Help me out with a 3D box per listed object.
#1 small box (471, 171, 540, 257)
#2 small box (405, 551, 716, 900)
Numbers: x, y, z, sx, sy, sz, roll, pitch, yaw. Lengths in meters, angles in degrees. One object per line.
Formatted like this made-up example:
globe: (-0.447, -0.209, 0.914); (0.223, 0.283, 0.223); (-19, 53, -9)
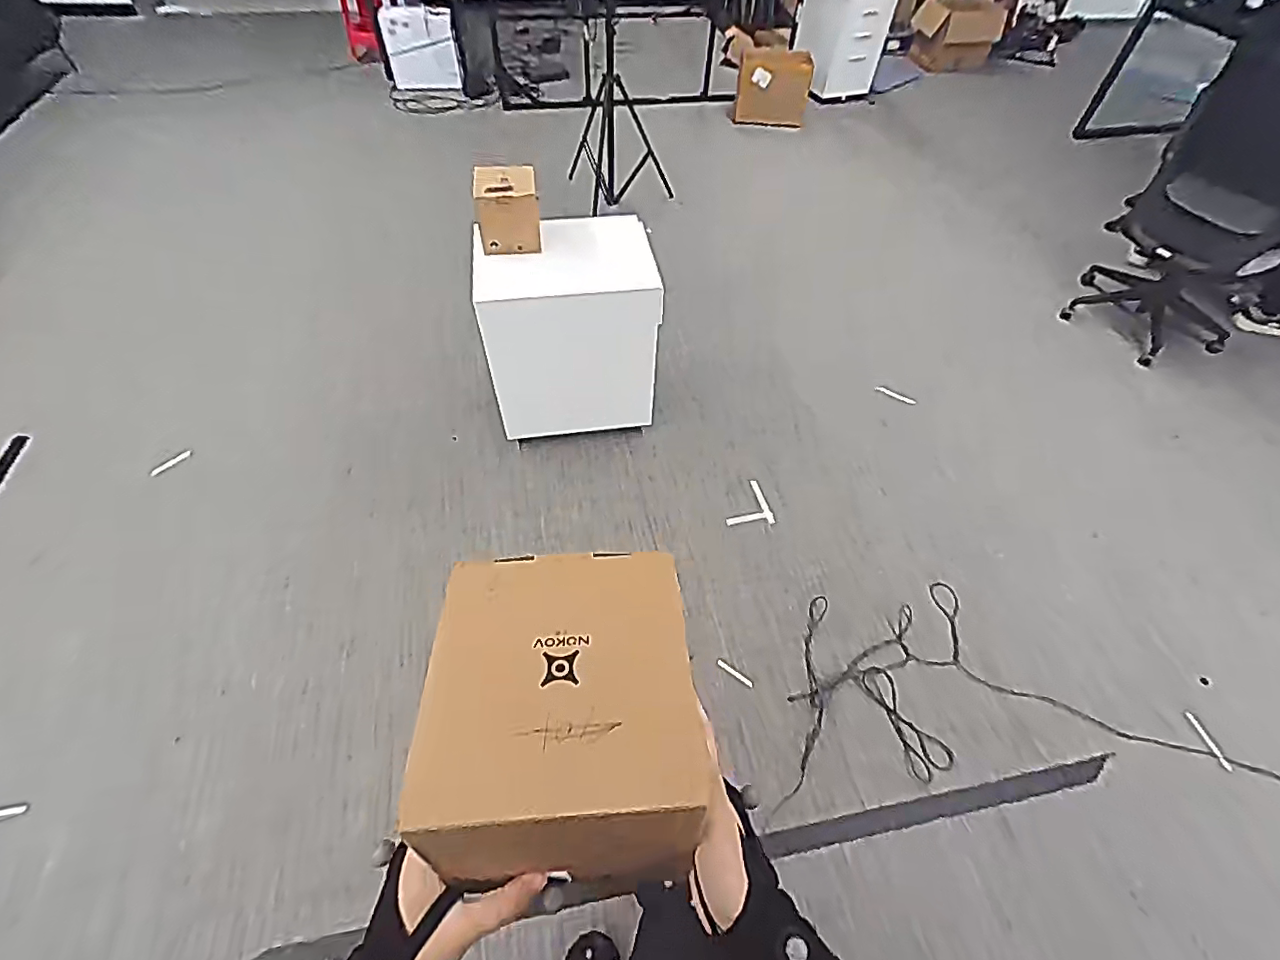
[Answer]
small box: (-0.379, -0.756, 1.546); (0.168, 0.176, 0.179); (-5, 53, -7)
small box: (-0.048, 0.175, 0.396); (0.168, 0.176, 0.179); (-4, 43, -4)
